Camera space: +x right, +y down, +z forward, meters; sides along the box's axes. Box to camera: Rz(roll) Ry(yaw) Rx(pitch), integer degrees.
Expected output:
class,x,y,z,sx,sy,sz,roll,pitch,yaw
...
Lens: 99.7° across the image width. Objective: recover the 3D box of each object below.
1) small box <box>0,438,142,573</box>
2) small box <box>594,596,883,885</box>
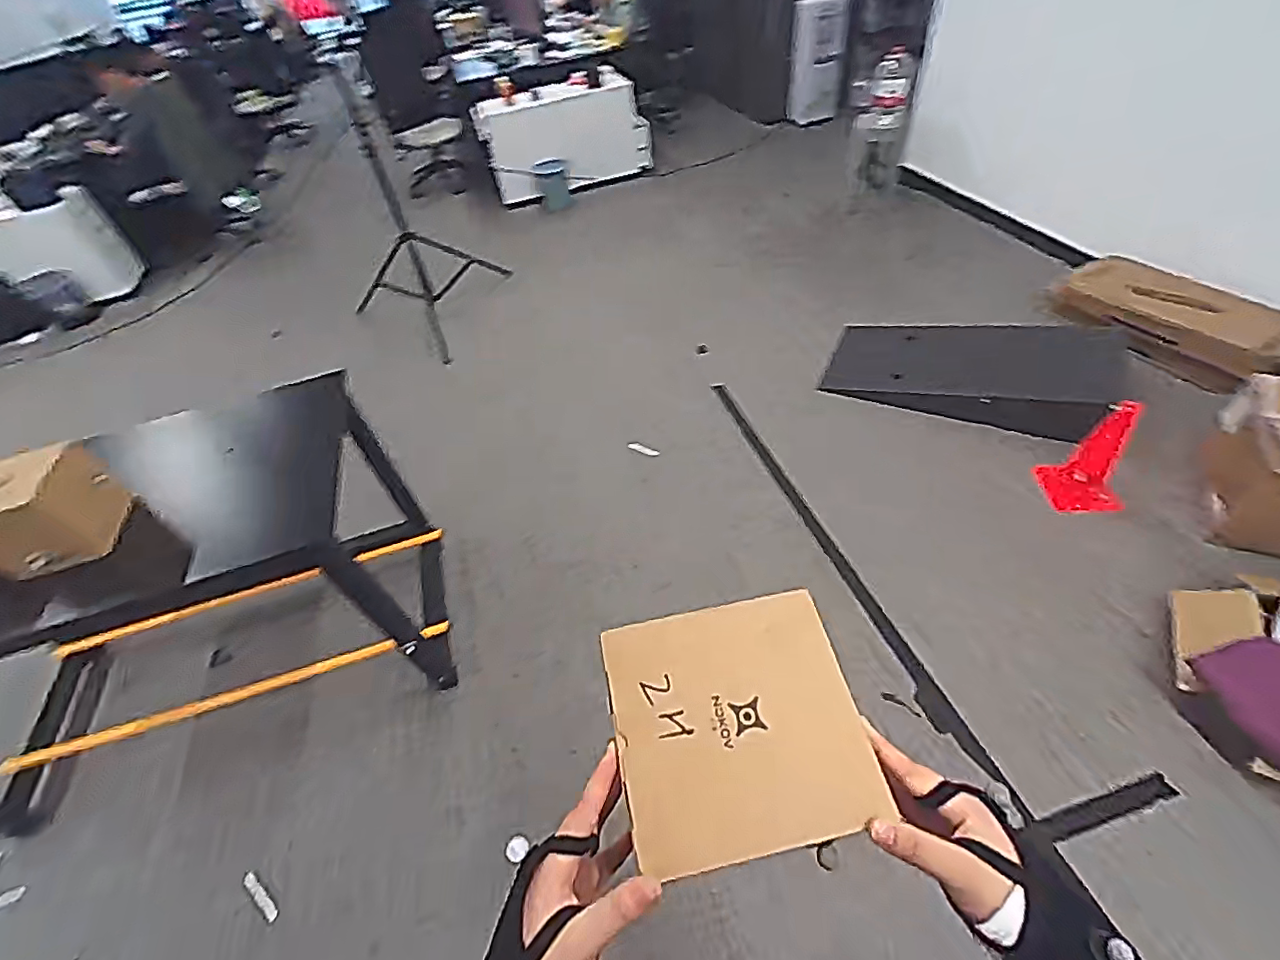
class,x,y,z,sx,sy,sz,roll,pitch,yaw
small box,-1.148,0.052,1.067,0.168,0.176,0.179,-18,48,-7
small box,0.064,0.219,0.458,0.179,0.176,0.168,-11,56,-5
